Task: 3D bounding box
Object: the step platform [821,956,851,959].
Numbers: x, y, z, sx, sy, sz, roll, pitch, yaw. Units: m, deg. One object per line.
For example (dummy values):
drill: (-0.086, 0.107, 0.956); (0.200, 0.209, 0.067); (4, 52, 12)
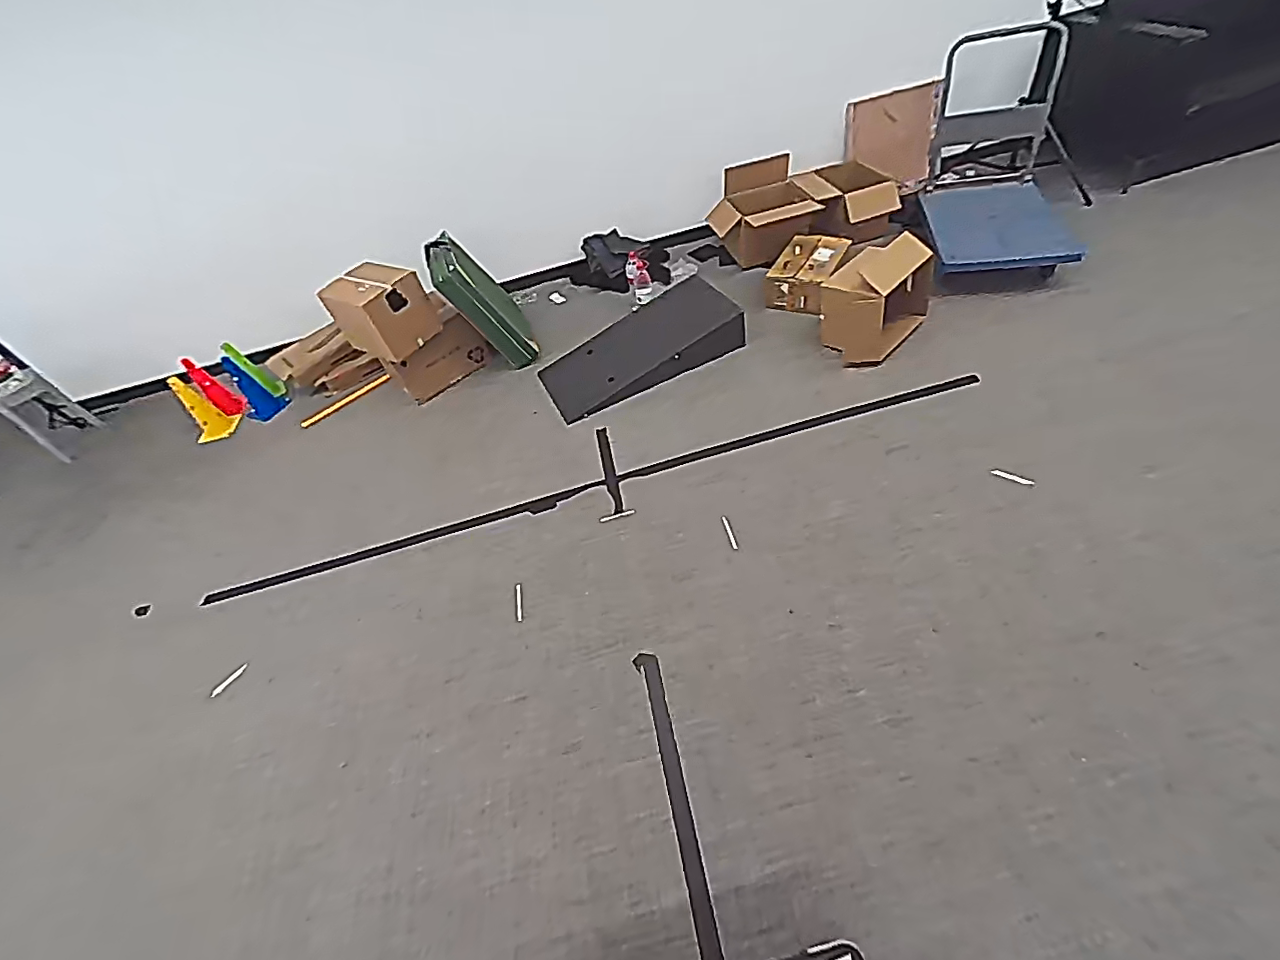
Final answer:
step platform: (0.154, 1.164, 1.015); (0.684, 0.204, 0.286); (-16, 48, -1)
